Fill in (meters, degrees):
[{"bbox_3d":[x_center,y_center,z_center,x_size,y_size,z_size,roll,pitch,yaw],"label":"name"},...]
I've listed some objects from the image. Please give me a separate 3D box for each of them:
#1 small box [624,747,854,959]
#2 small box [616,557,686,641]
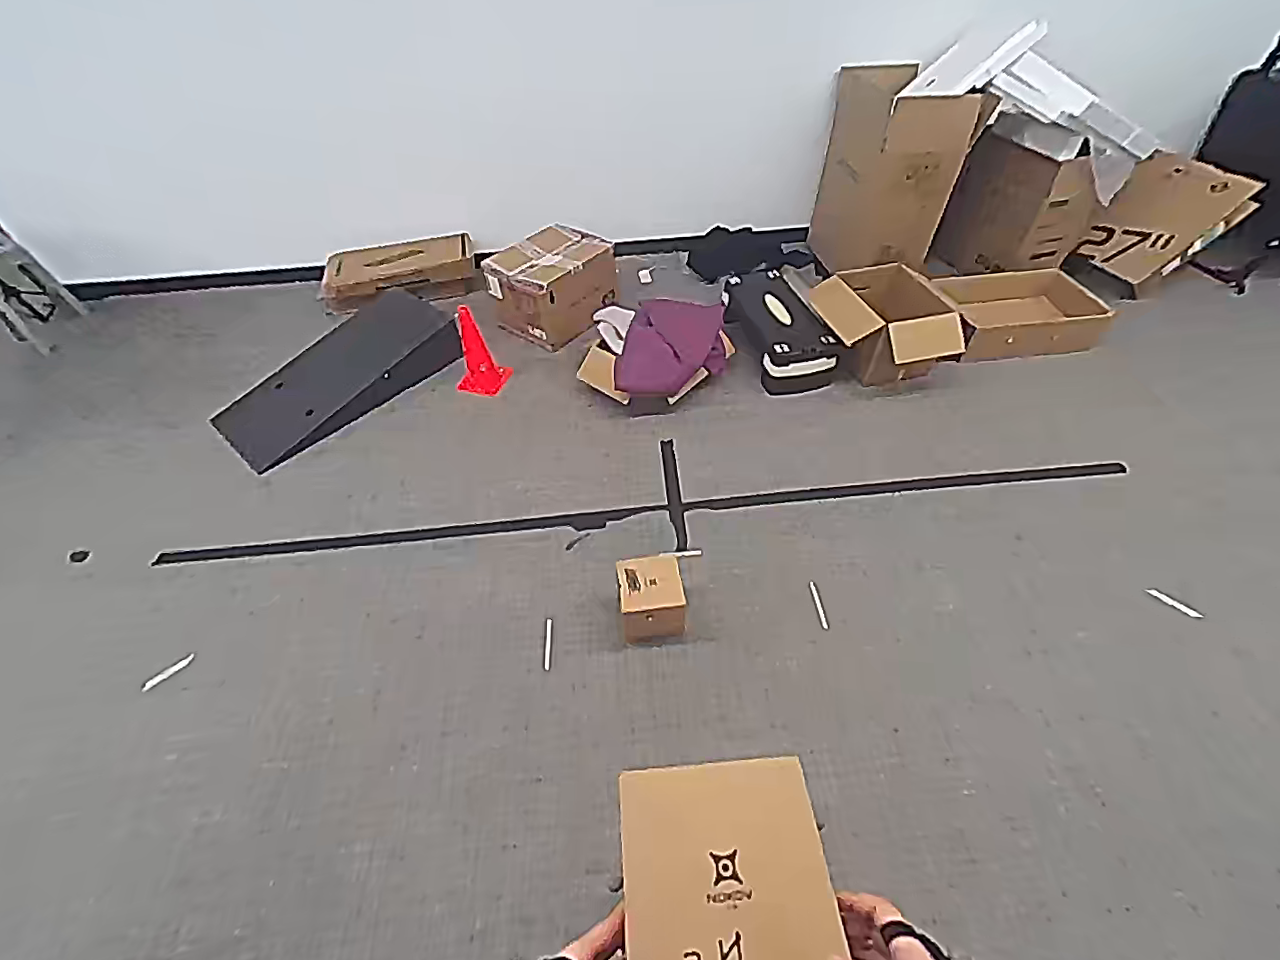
[{"bbox_3d":[0.073,0.364,0.483,0.168,0.176,0.179,-5,45,0],"label":"small box"},{"bbox_3d":[0.032,0.344,1.539,0.179,0.176,0.168,-7,48,-4],"label":"small box"}]
